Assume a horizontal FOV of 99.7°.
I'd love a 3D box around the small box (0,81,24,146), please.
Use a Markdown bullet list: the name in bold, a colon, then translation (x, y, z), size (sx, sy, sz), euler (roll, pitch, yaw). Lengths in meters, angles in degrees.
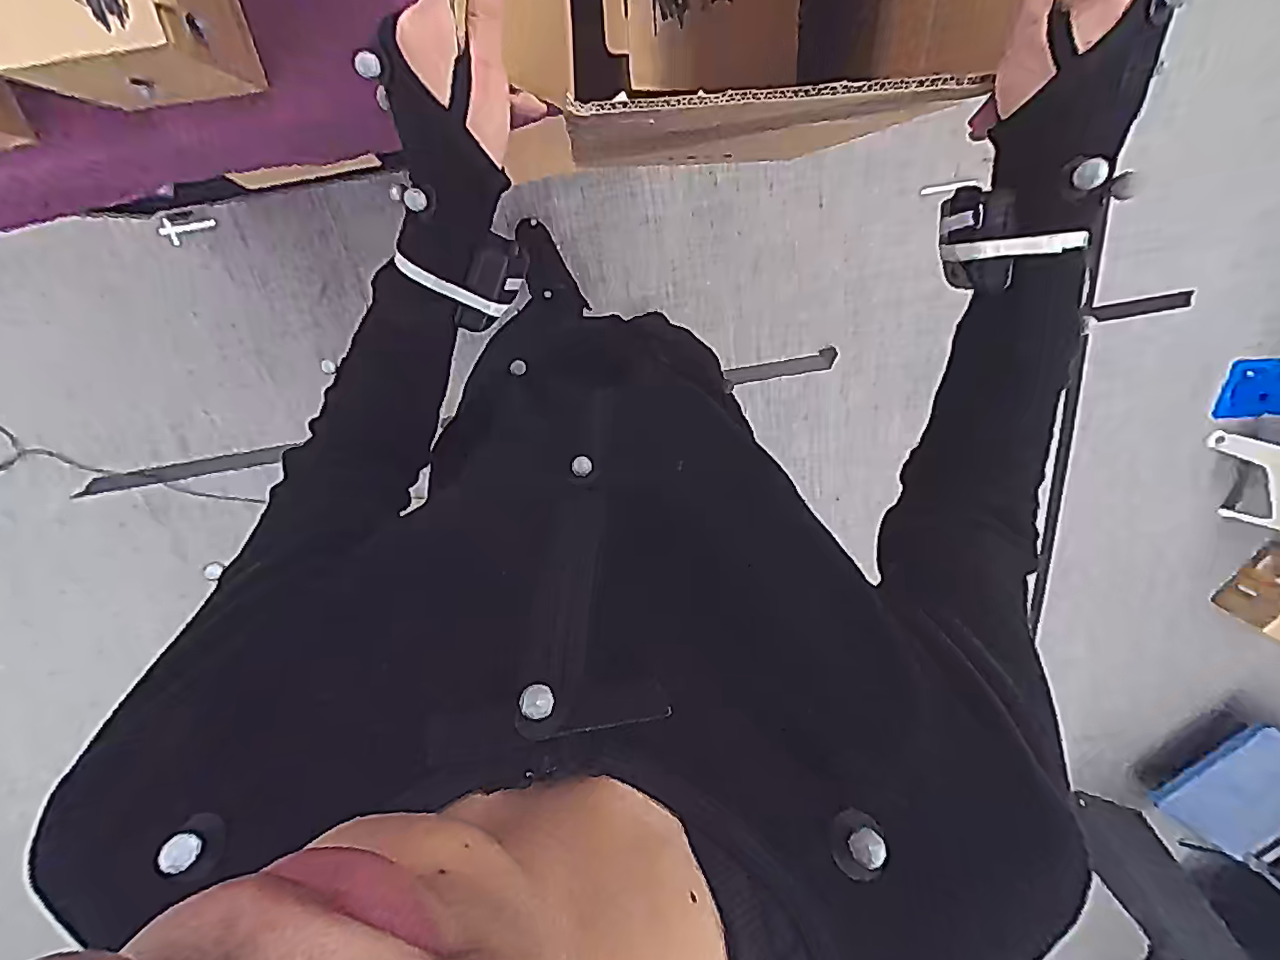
- **small box**: translation (-0.814, -0.427, 0.537), size (0.179, 0.176, 0.168), euler (-12, 115, -2)
